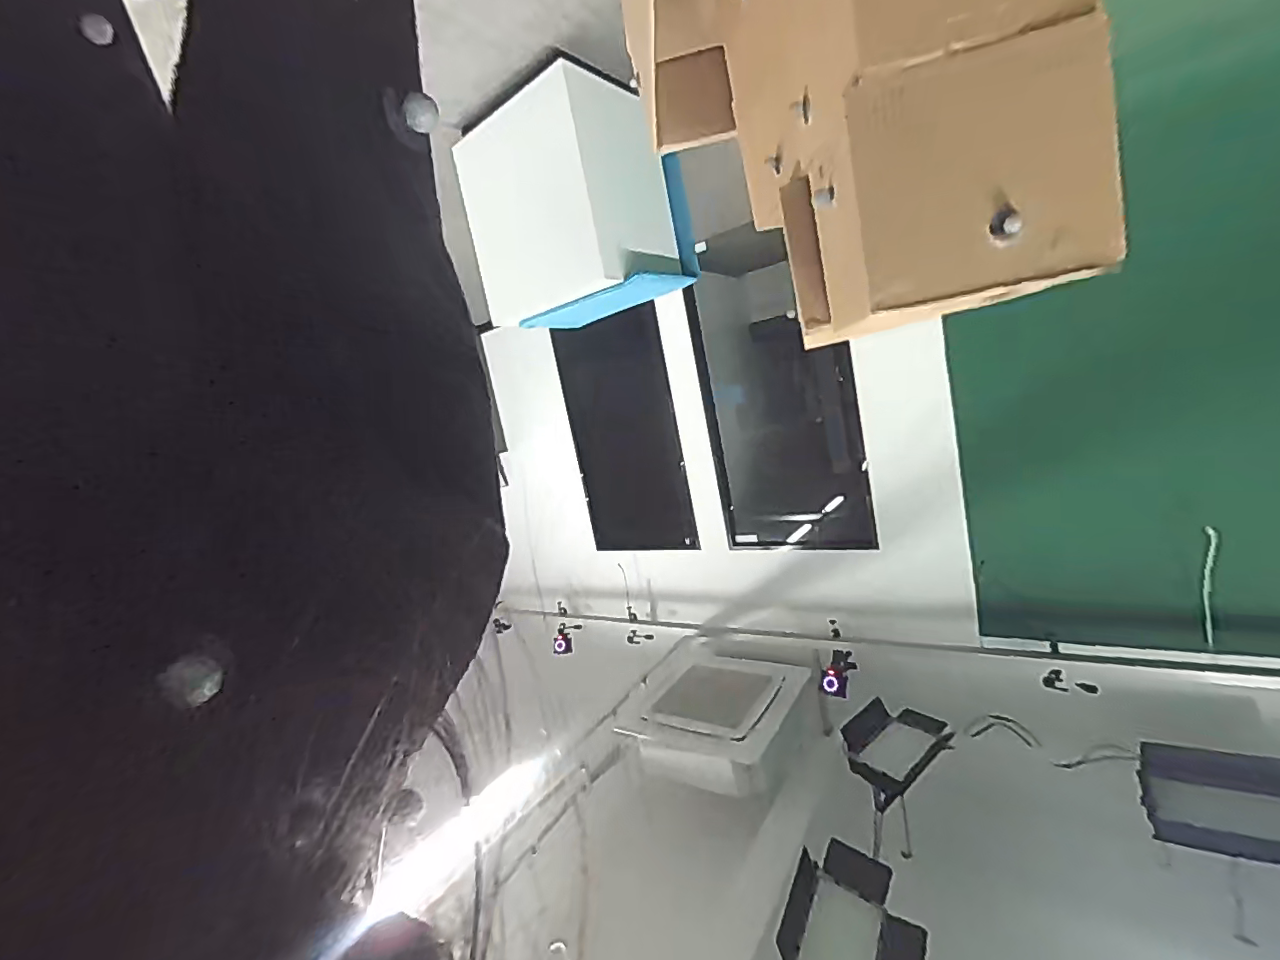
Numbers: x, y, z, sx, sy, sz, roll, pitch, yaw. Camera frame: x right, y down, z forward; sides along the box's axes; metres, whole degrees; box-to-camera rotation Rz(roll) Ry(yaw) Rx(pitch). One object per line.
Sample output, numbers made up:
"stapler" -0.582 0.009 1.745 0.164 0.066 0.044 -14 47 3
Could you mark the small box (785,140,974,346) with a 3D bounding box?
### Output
"small box" 0.271 -0.272 0.647 0.168 0.176 0.179 -10 -175 17
